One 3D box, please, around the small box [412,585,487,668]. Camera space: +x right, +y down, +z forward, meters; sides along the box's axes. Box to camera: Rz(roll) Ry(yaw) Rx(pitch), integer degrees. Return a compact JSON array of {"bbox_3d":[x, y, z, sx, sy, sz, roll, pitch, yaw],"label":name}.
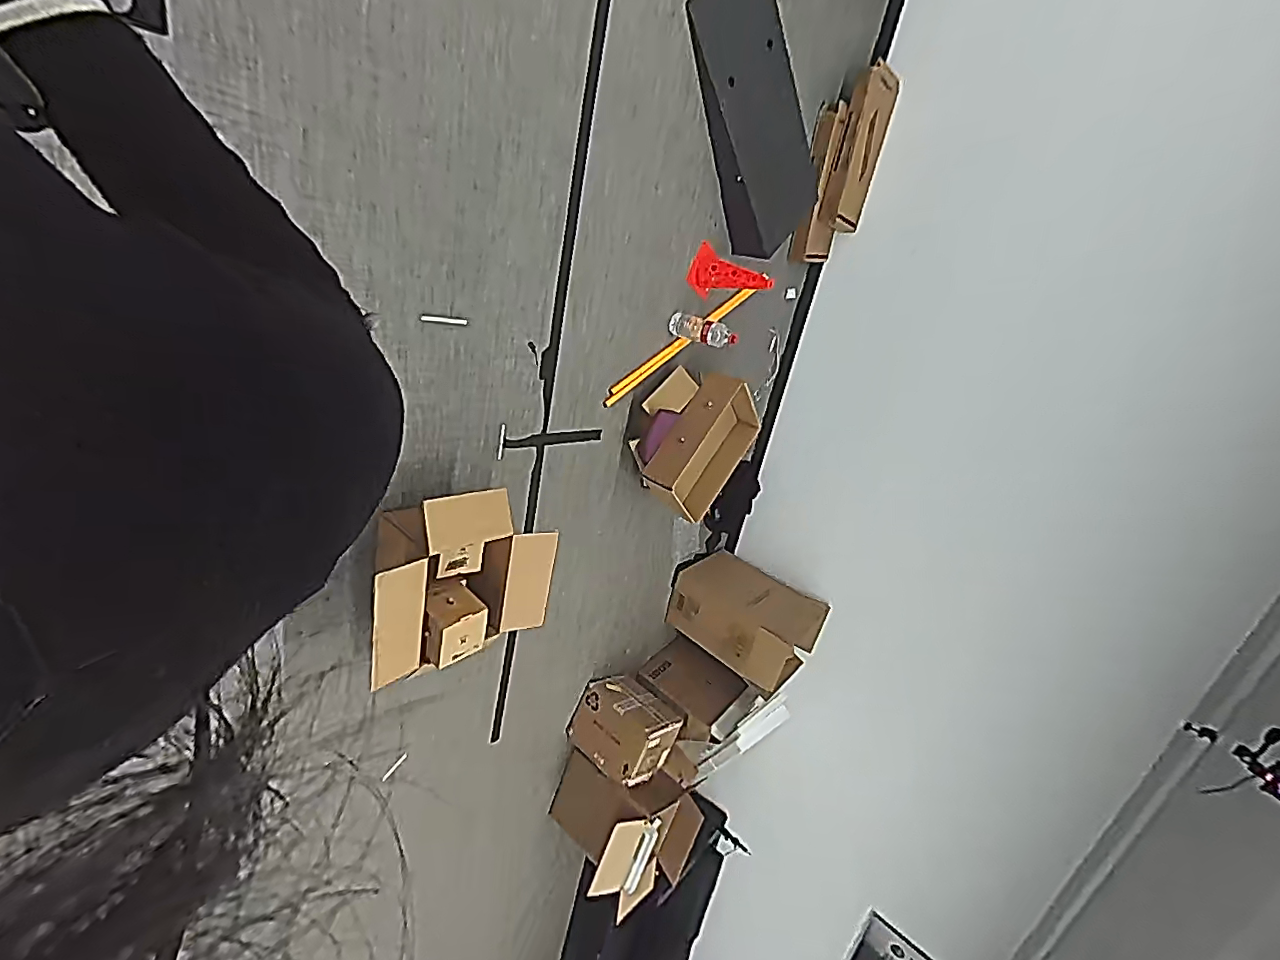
[{"bbox_3d":[-0.622,0.463,1.755,0.168,0.176,0.179,-17,129,-49],"label":"small box"}]
